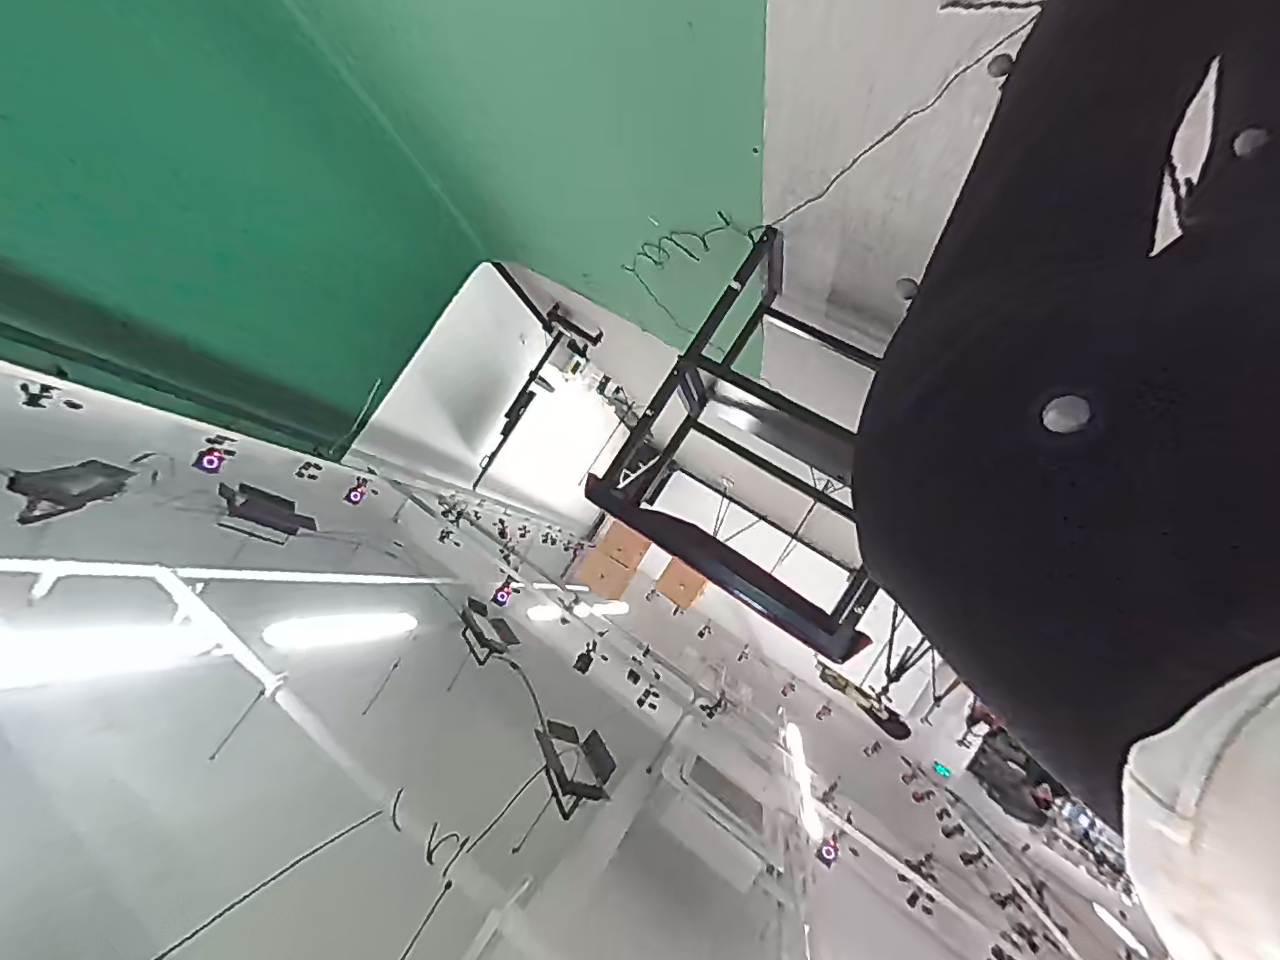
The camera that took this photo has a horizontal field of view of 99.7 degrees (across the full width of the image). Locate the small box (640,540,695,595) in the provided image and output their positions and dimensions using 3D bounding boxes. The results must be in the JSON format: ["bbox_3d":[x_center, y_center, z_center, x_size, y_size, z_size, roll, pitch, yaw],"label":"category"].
[{"bbox_3d":[0.128,0.373,2.330,0.179,0.176,0.168,32,178,14],"label":"small box"}]

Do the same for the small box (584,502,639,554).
[{"bbox_3d":[-0.120,0.216,2.428,0.179,0.176,0.168,32,178,13],"label":"small box"}]

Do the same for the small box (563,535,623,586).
[{"bbox_3d":[-0.206,0.355,2.421,0.179,0.176,0.168,30,178,19],"label":"small box"}]
